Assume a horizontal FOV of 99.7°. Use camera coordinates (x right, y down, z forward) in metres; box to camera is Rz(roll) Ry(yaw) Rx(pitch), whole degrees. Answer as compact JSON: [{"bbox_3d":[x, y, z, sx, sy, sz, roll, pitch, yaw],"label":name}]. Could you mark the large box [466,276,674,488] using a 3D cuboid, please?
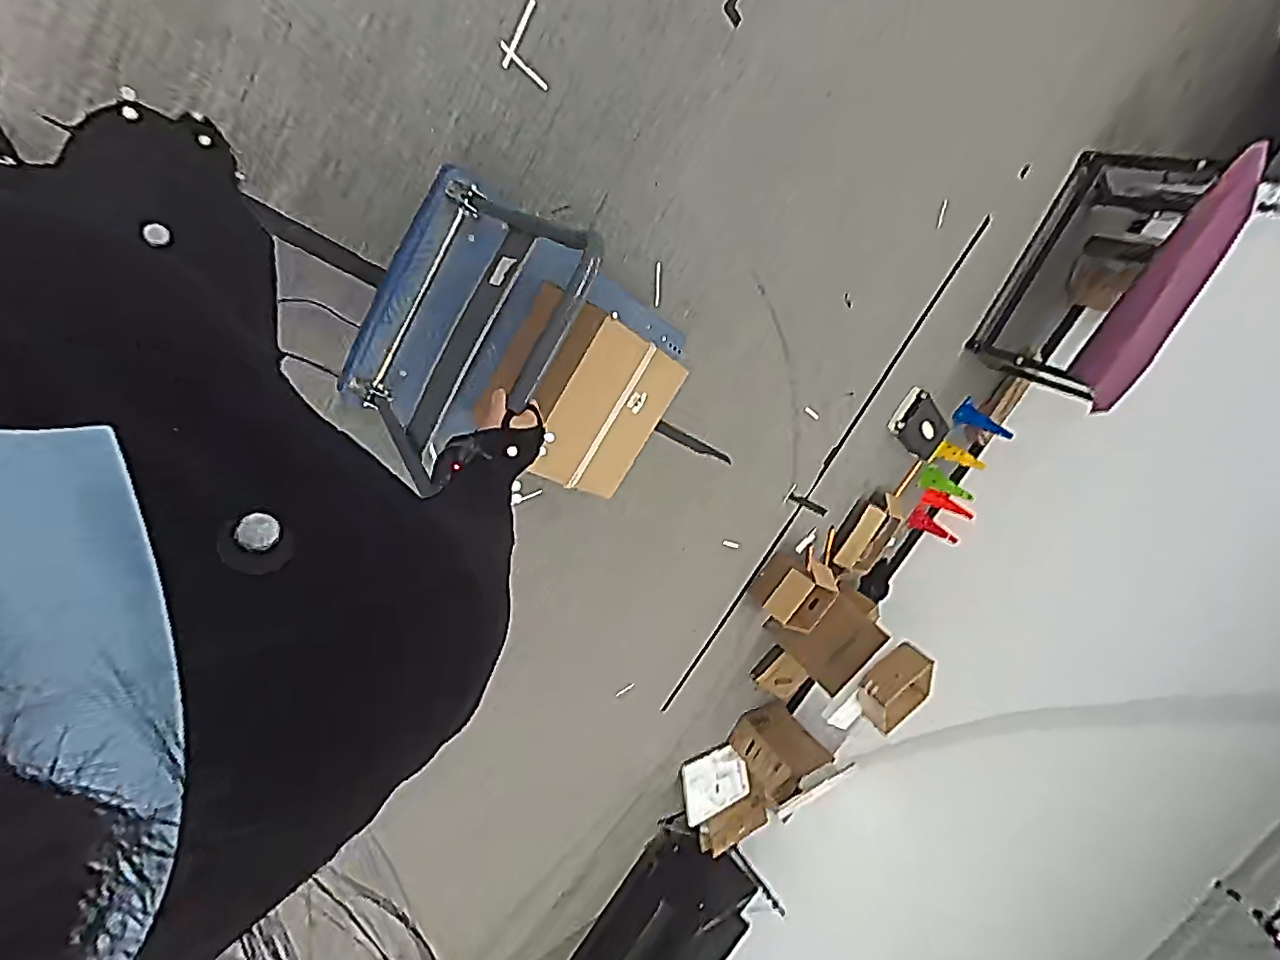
[{"bbox_3d":[-0.190,-0.249,1.416,0.320,0.320,0.408,22,103,-48],"label":"large box"}]
